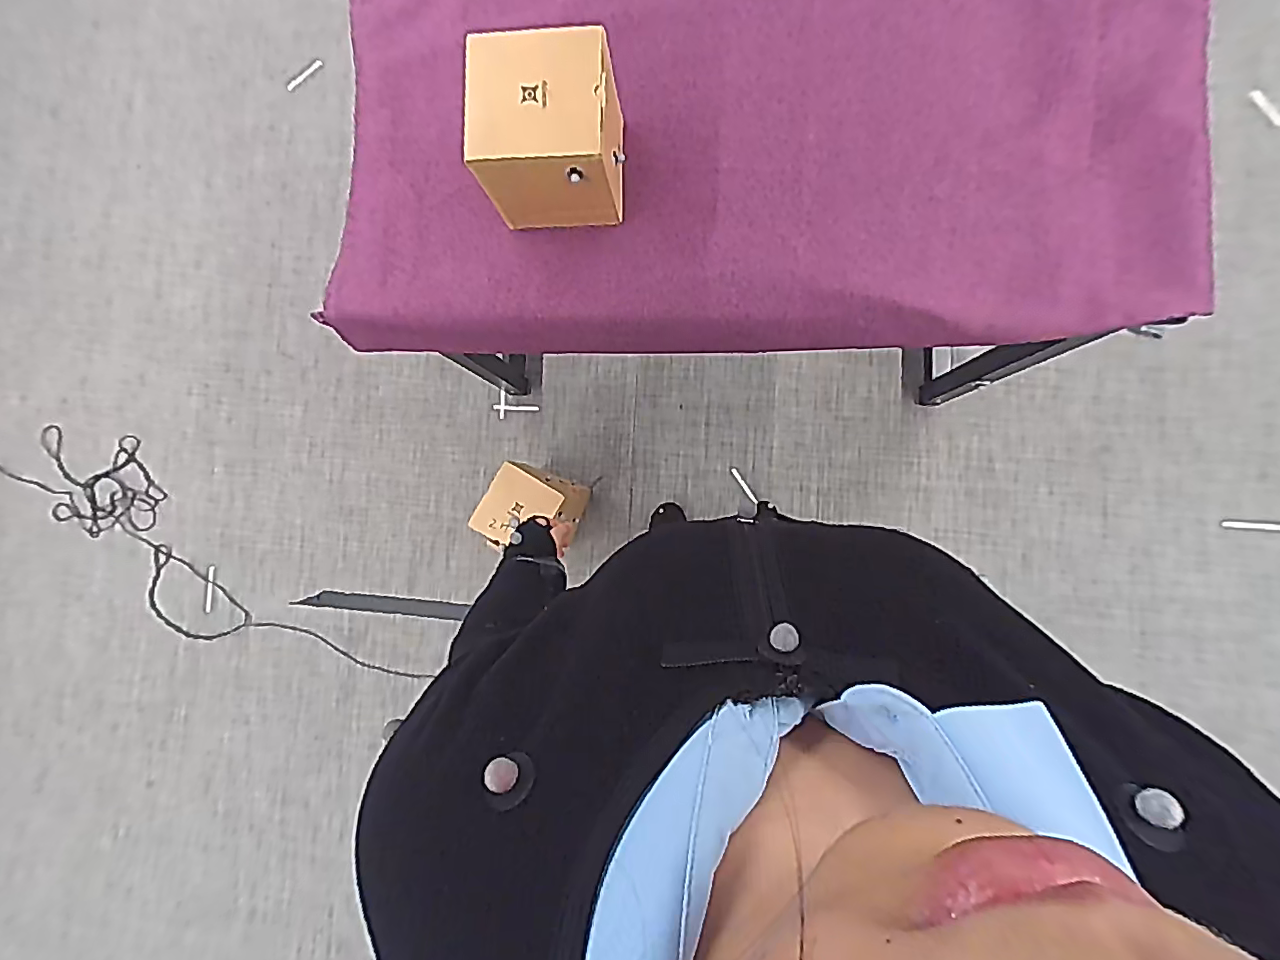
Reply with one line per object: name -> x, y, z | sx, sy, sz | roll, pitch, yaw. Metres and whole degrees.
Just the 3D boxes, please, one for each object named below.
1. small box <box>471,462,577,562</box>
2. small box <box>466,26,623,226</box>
small box -> -0.267, 0.074, 1.299 | 0.168, 0.176, 0.179 | 31, 92, 6
small box -> -0.121, -0.469, 0.743 | 0.179, 0.176, 0.168 | 0, 87, 5
